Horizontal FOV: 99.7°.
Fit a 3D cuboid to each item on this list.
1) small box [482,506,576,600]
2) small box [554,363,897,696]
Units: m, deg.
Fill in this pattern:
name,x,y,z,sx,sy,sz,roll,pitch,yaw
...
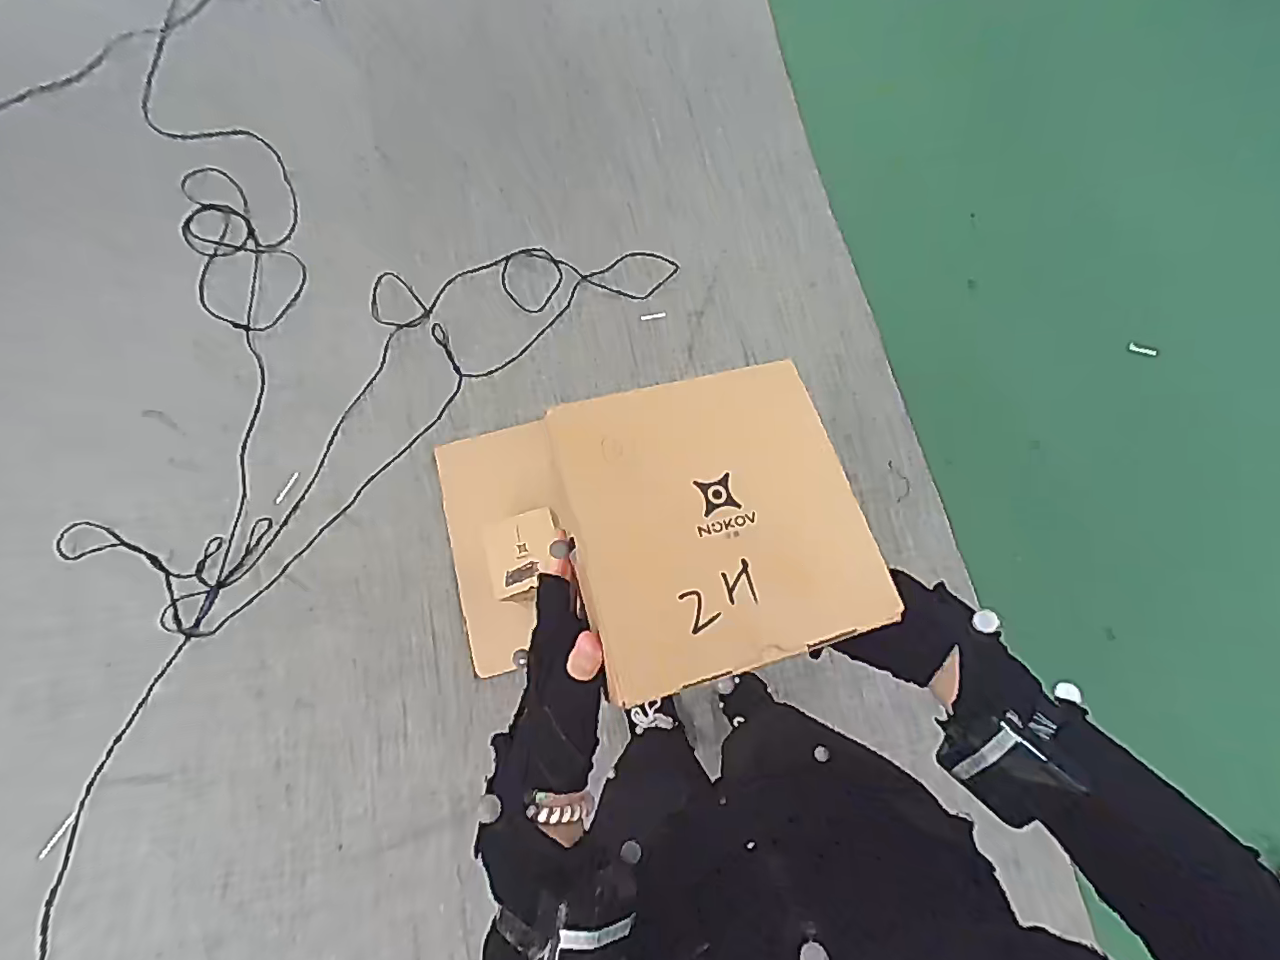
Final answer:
name,x,y,z,sx,sy,sz,roll,pitch,yaw
small box,-0.255,0.179,1.284,0.168,0.176,0.179,-16,76,-3
small box,0.036,0.045,0.389,0.168,0.176,0.179,-13,72,-11
